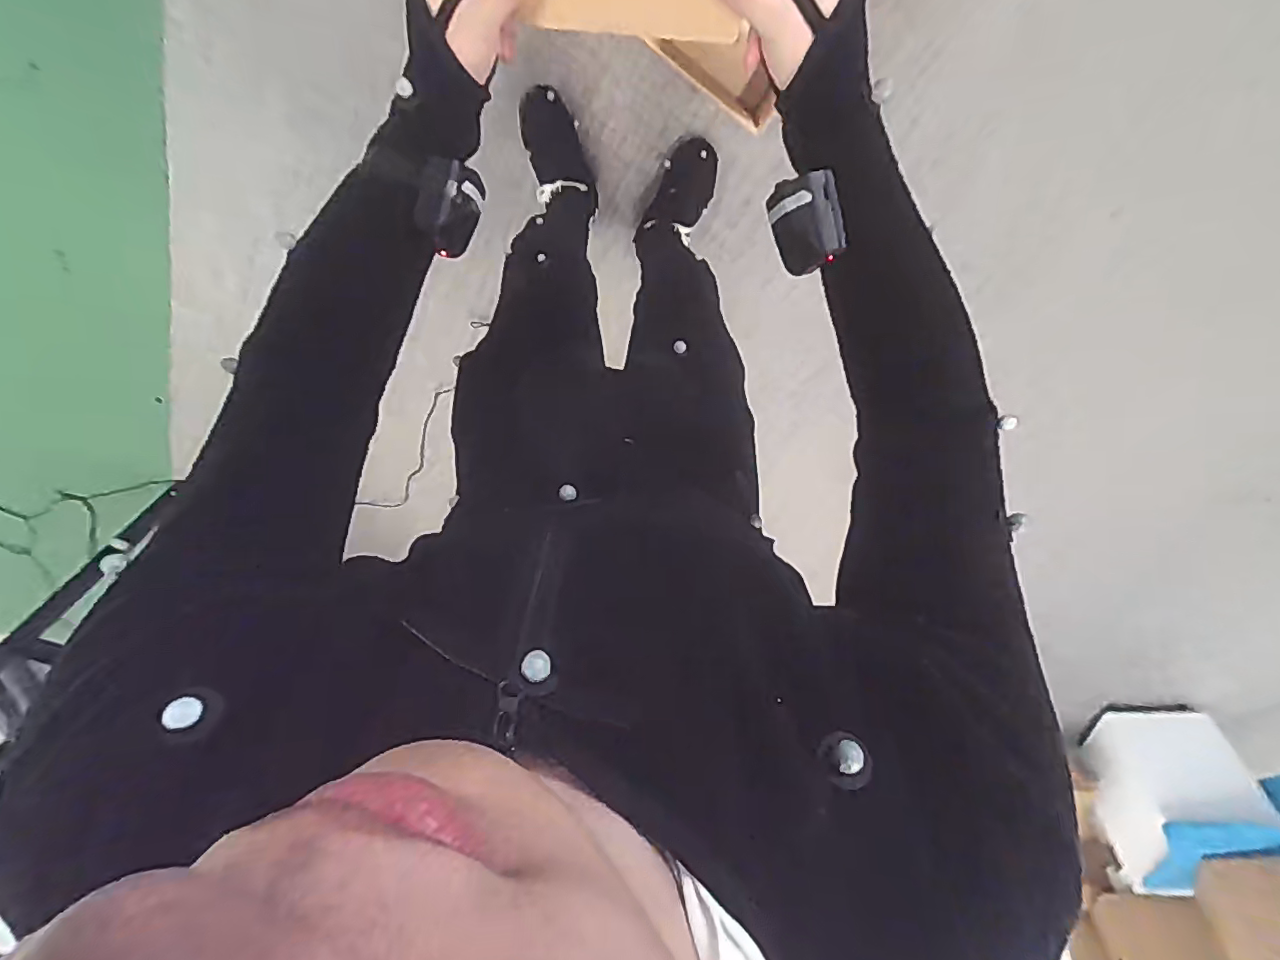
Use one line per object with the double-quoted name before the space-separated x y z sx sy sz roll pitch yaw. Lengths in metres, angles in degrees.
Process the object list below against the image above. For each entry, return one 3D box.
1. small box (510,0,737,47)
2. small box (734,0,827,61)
"small box" 0.000 -0.439 0.379 0.168 0.176 0.179 6 140 2
"small box" 0.189 -0.741 0.767 0.179 0.176 0.168 28 131 -16
